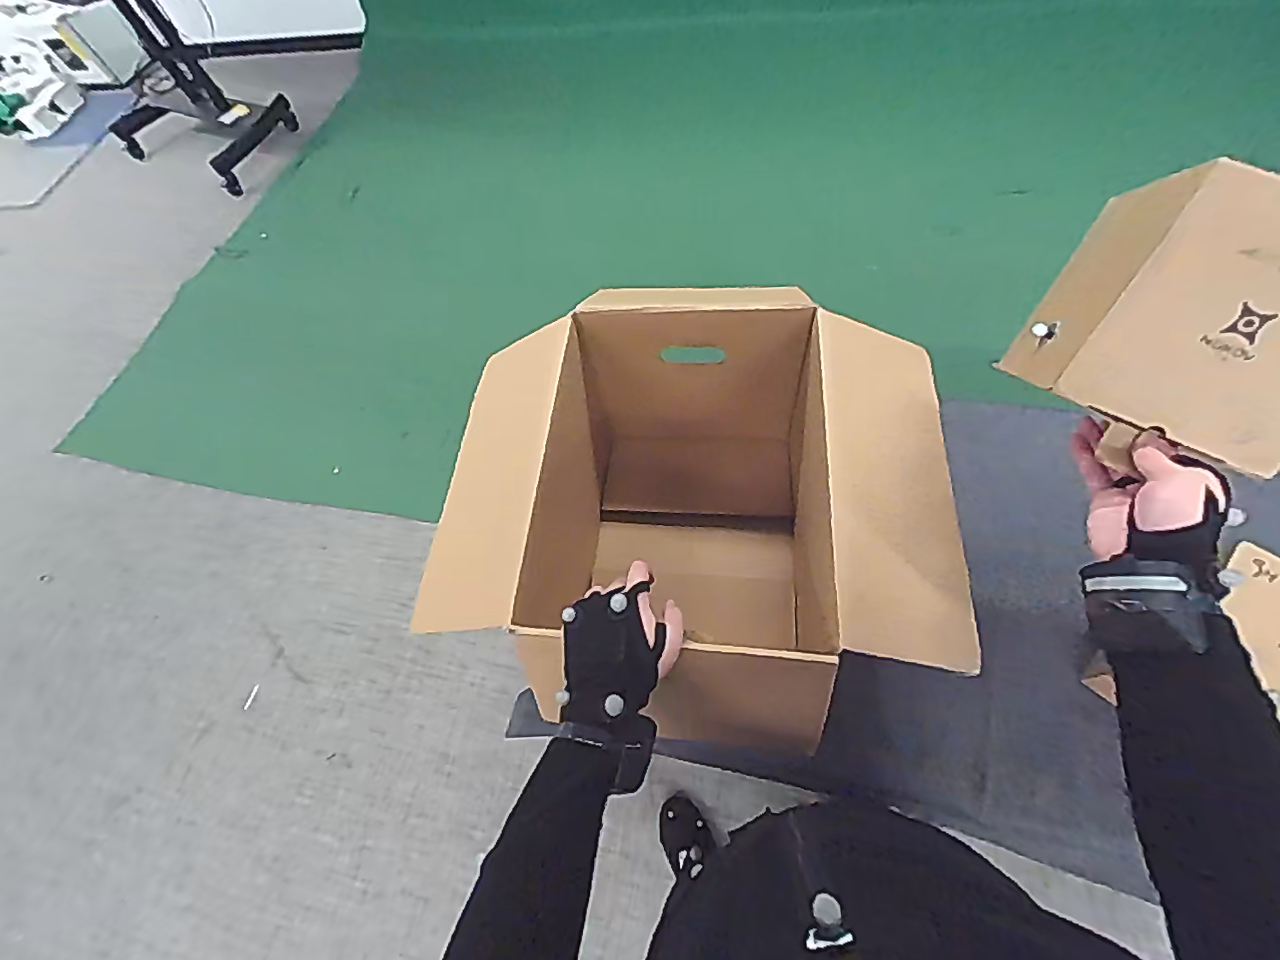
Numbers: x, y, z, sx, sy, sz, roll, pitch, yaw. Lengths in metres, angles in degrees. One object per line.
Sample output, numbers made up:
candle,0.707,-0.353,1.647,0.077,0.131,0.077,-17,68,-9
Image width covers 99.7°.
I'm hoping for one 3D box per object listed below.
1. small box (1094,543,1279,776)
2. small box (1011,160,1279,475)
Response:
small box,0.671,0.210,0.611,0.168,0.176,0.179,39,75,25
small box,0.457,-0.134,0.461,0.168,0.179,0.176,27,24,10
